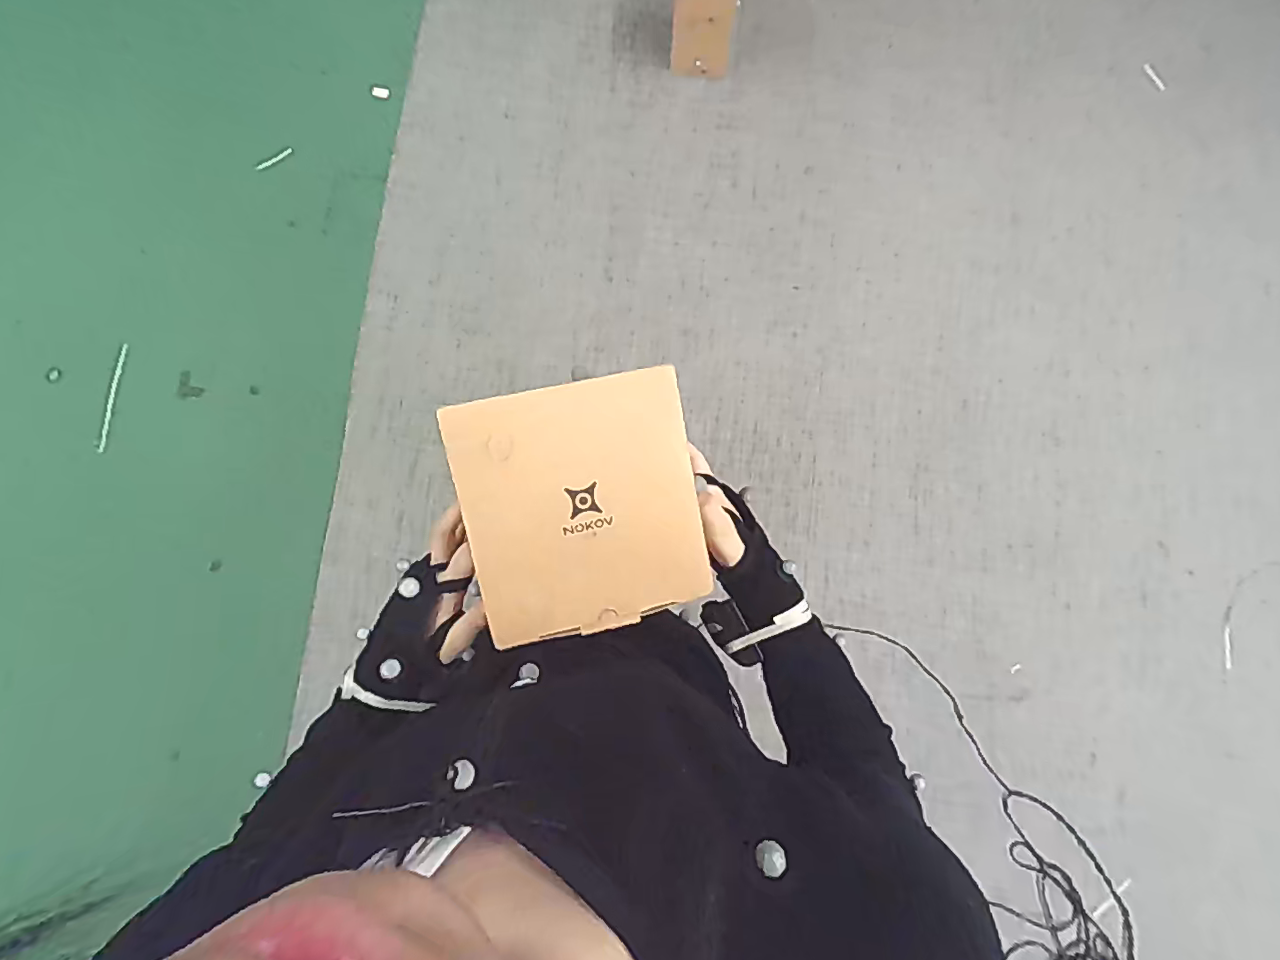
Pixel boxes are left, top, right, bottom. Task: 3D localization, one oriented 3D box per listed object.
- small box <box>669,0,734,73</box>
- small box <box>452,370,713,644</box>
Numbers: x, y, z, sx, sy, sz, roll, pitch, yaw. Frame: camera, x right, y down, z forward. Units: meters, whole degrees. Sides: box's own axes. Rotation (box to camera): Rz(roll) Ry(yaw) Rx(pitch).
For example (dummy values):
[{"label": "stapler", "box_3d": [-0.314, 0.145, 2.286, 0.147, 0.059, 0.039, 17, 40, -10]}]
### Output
[{"label": "small box", "box_3d": [0.178, -1.337, 1.568, 0.168, 0.176, 0.179, 7, 85, 0]}, {"label": "small box", "box_3d": [-0.051, 0.010, 0.468, 0.168, 0.176, 0.179, -12, 100, -9]}]
